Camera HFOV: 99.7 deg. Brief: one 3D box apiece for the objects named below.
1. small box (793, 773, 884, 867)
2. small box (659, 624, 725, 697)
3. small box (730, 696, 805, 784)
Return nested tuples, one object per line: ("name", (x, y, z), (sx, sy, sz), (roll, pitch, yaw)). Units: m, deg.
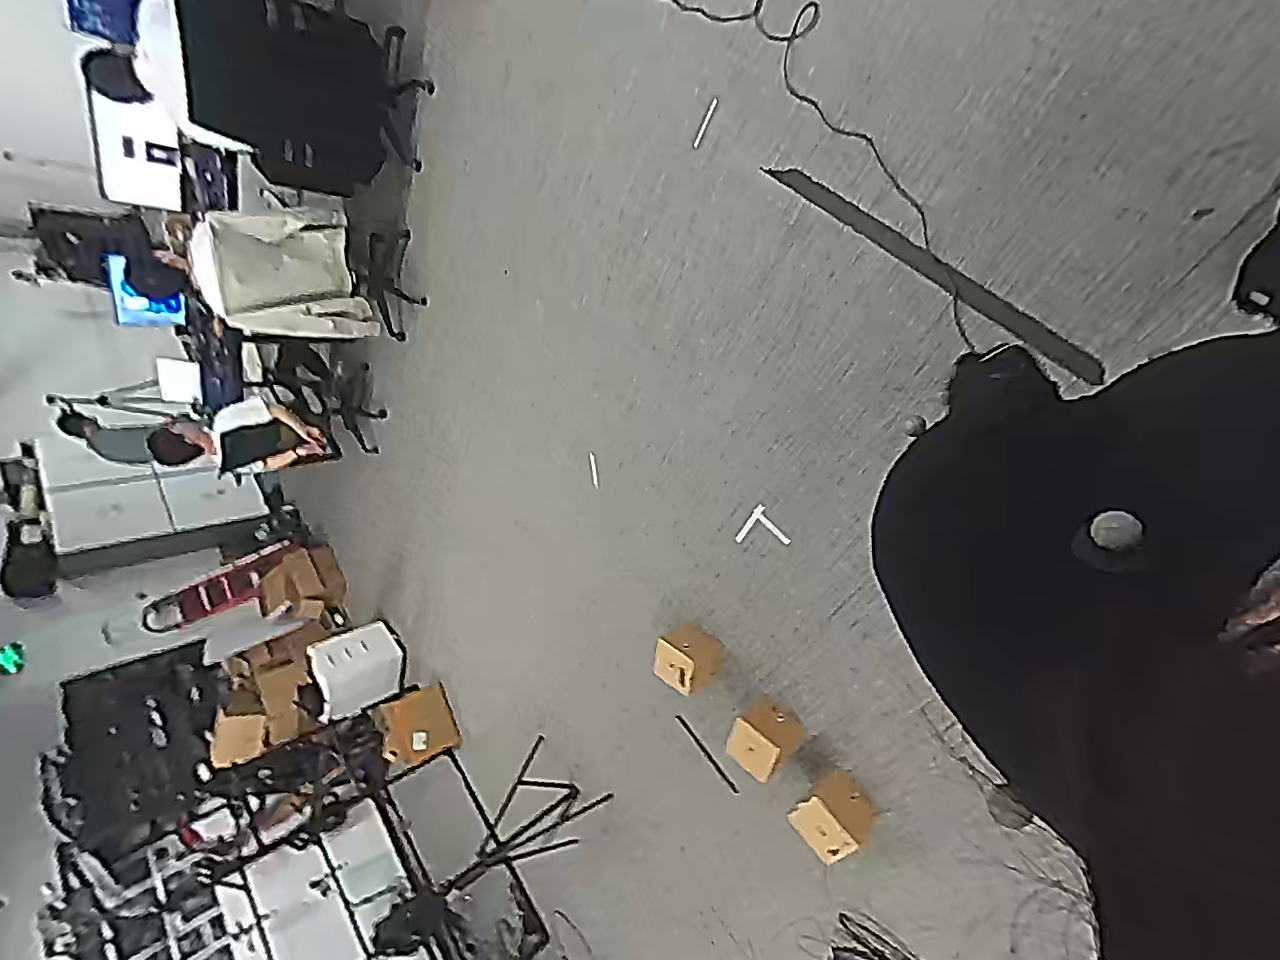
("small box", (0.630, 1.066, 1.713), (0.179, 0.176, 0.168), (48, 130, 26))
("small box", (0.198, 0.672, 2.042), (0.179, 0.176, 0.168), (25, 117, 40))
("small box", (0.441, 0.887, 1.856), (0.168, 0.176, 0.179), (30, 120, 35))
